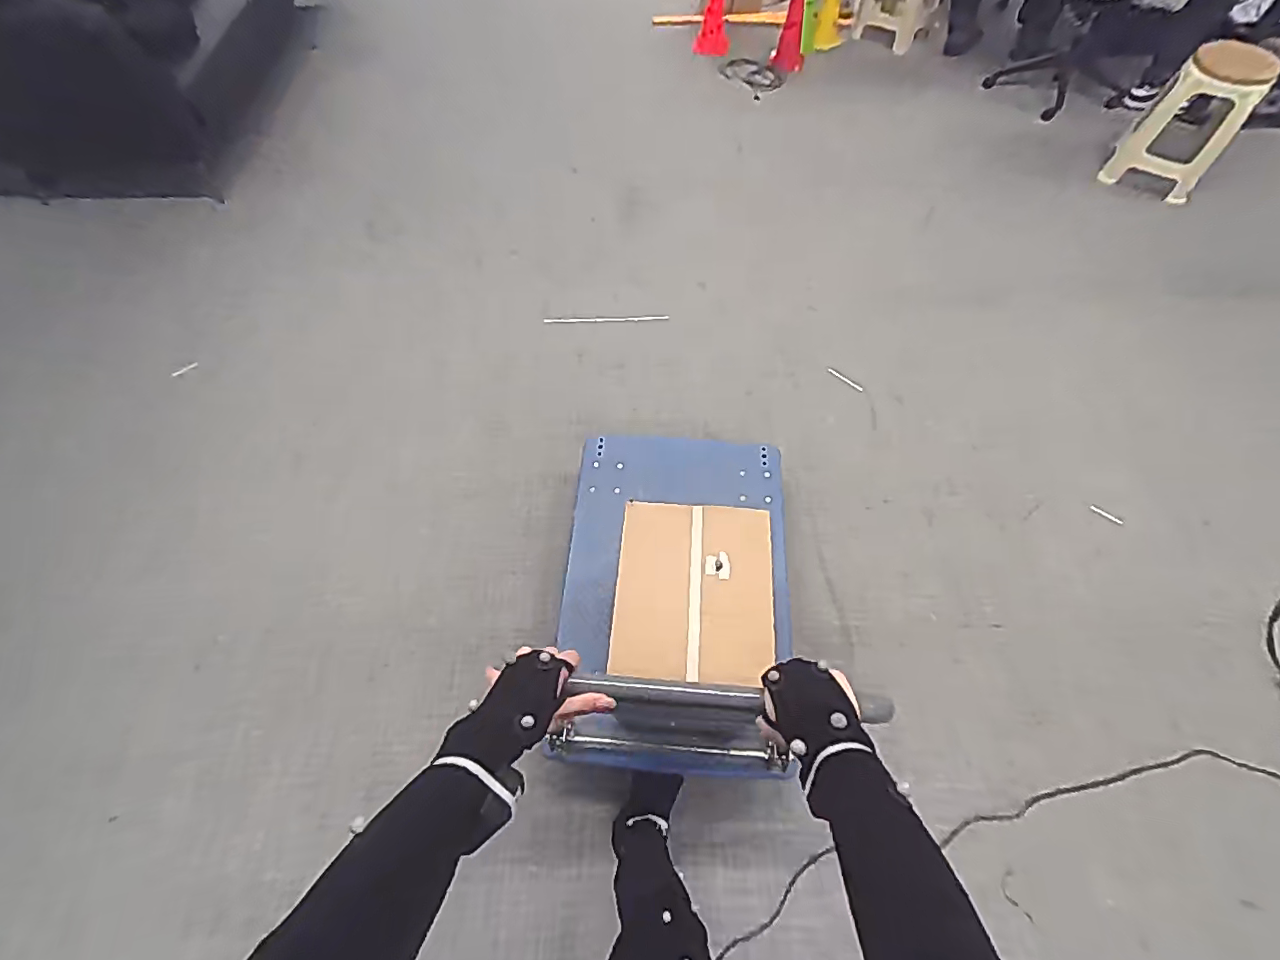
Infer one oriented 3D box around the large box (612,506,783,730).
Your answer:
[{"bbox_3d":[0.118,0.309,1.190,0.320,0.320,0.408,4,59,3],"label":"large box"}]
